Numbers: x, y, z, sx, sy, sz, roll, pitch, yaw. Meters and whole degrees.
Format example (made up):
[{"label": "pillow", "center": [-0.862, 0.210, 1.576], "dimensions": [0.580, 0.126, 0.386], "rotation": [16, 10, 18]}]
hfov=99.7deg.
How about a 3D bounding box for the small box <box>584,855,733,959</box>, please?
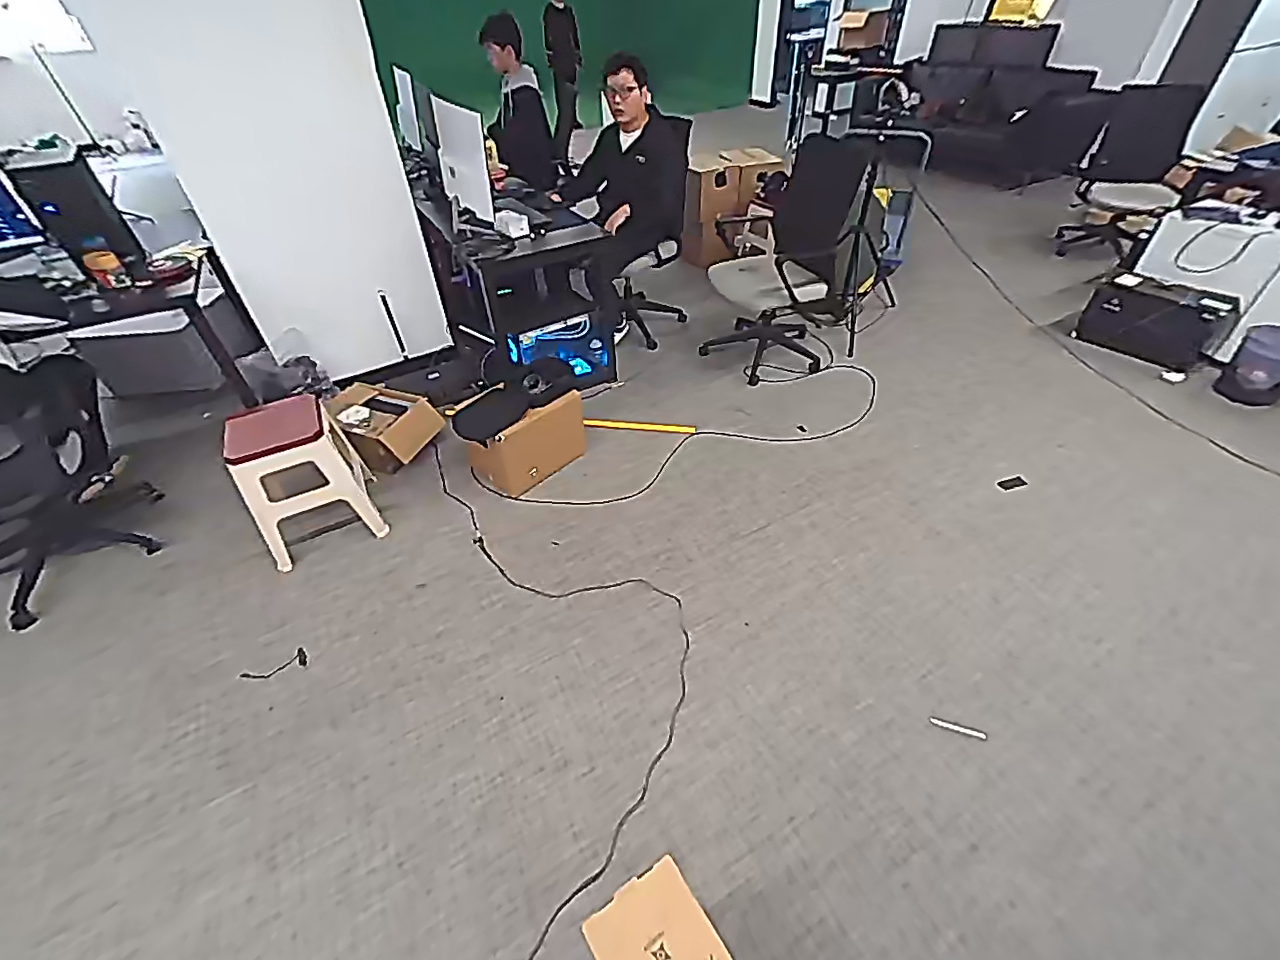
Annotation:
[{"label": "small box", "center": [0.030, 0.739, 0.837], "dimensions": [0.168, 0.176, 0.179], "rotation": [-25, 47, -23]}]
